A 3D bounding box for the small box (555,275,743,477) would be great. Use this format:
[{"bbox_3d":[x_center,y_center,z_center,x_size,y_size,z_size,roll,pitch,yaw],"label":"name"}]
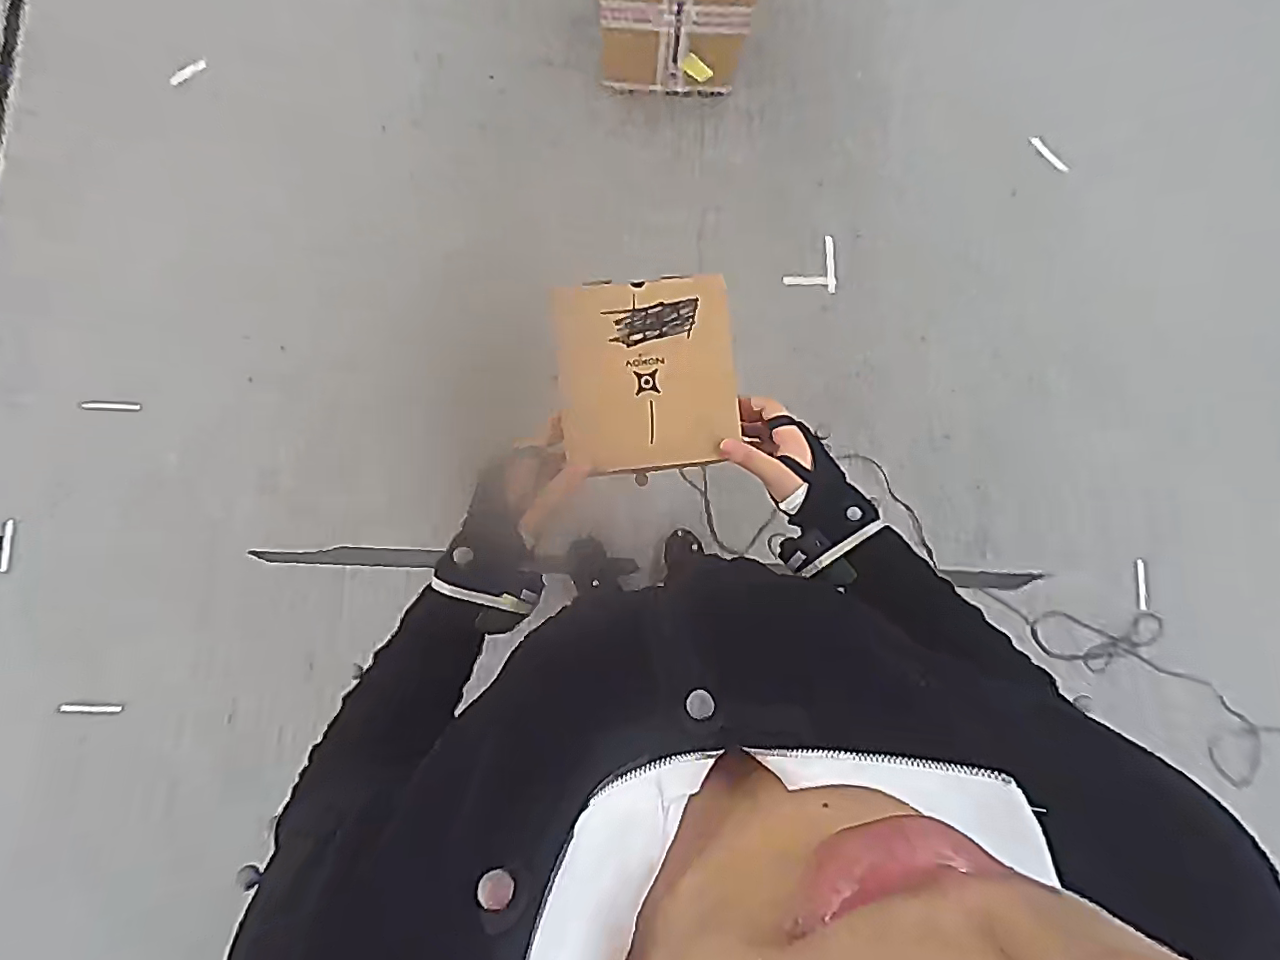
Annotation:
[{"bbox_3d":[0.001,-0.098,0.575,0.168,0.176,0.179,-5,90,-5],"label":"small box"}]
